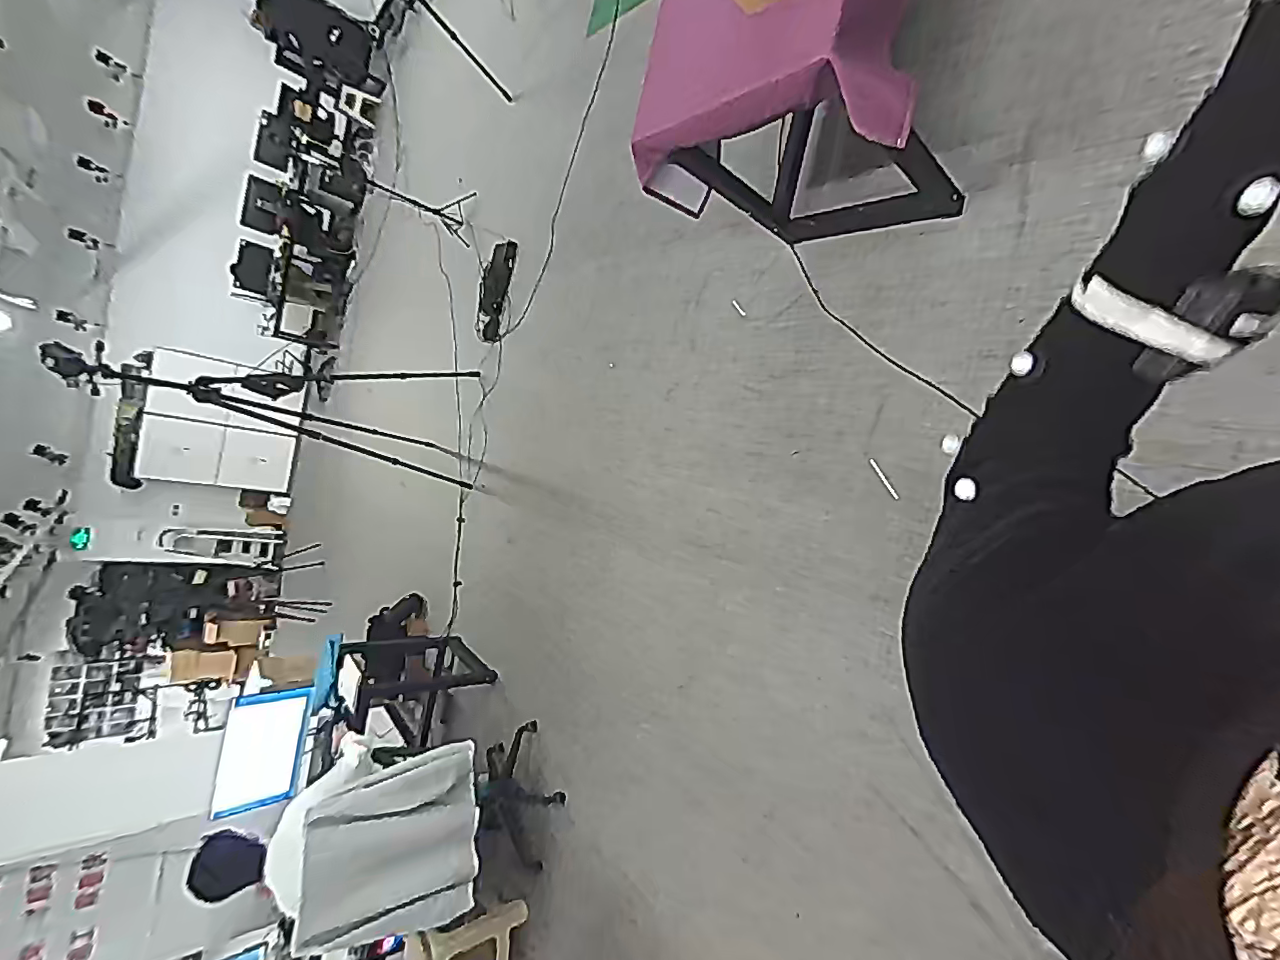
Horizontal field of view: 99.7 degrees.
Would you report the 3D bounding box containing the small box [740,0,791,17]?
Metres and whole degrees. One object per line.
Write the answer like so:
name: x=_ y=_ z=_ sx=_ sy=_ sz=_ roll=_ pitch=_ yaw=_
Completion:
small box: x=0.270 y=-1.085 z=1.070 sx=0.179 sy=0.176 sz=0.168 roll=17 pitch=95 yaw=49
